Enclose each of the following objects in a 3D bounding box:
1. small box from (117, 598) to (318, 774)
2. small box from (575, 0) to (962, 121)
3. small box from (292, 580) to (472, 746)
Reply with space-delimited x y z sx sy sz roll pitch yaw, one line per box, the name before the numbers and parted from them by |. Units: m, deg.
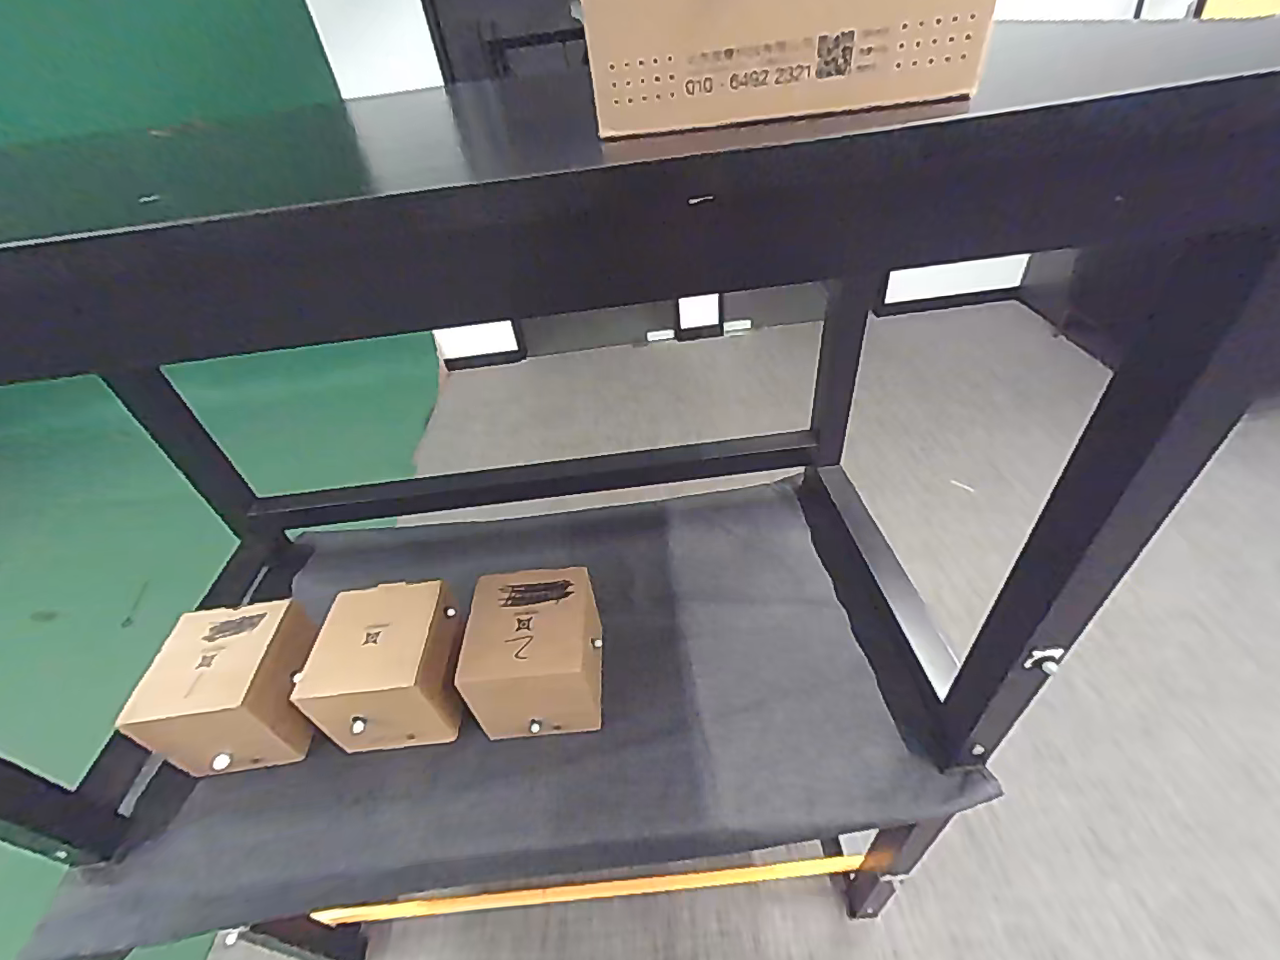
small box | -0.590 0.305 0.806 0.168 0.176 0.179 -8 40 -1
small box | 0.055 -0.283 0.257 0.168 0.176 0.179 -1 40 8
small box | -0.365 0.276 0.807 0.168 0.176 0.179 -6 39 1
